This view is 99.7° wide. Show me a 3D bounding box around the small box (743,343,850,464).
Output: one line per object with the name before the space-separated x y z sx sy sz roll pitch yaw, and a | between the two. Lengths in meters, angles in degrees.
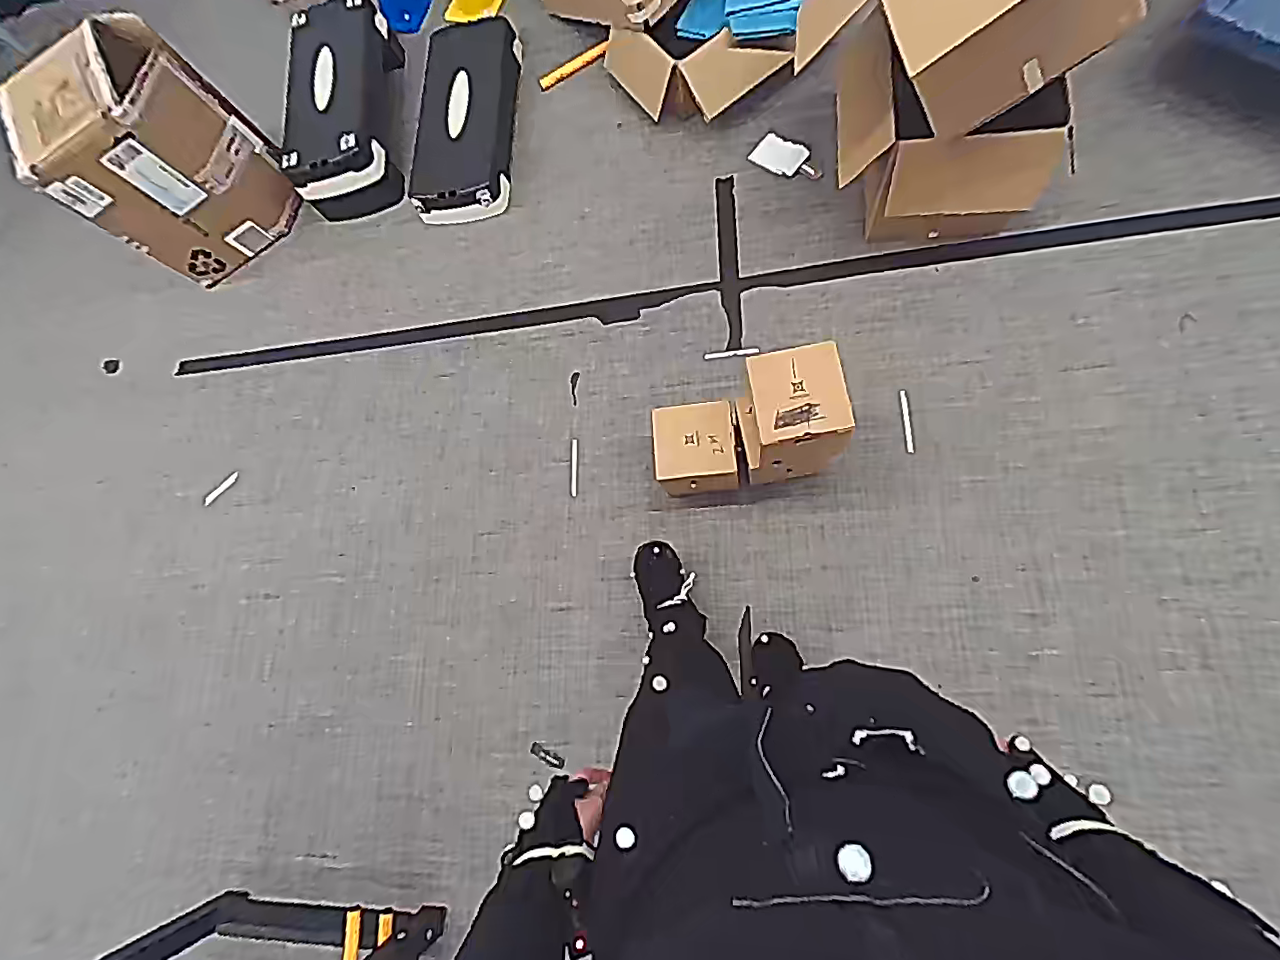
small box | 0.297 -0.138 1.055 0.168 0.176 0.179 -9 74 9
